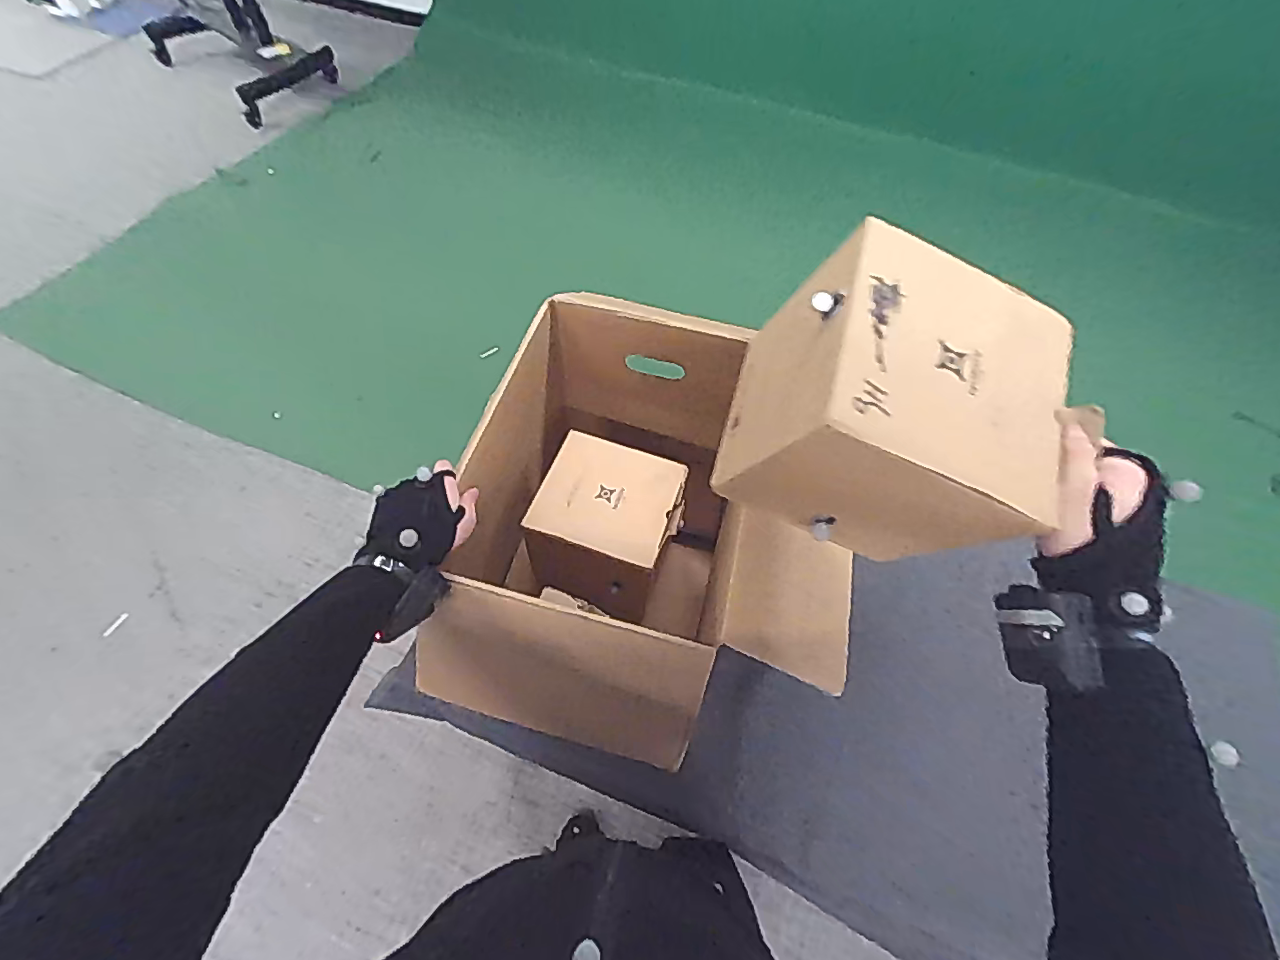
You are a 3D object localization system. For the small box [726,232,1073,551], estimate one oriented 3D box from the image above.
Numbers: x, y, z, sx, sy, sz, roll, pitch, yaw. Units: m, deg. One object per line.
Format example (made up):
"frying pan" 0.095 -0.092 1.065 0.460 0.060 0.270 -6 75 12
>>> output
"small box" 0.197 -0.049 0.436 0.179 0.176 0.168 22 70 -10
